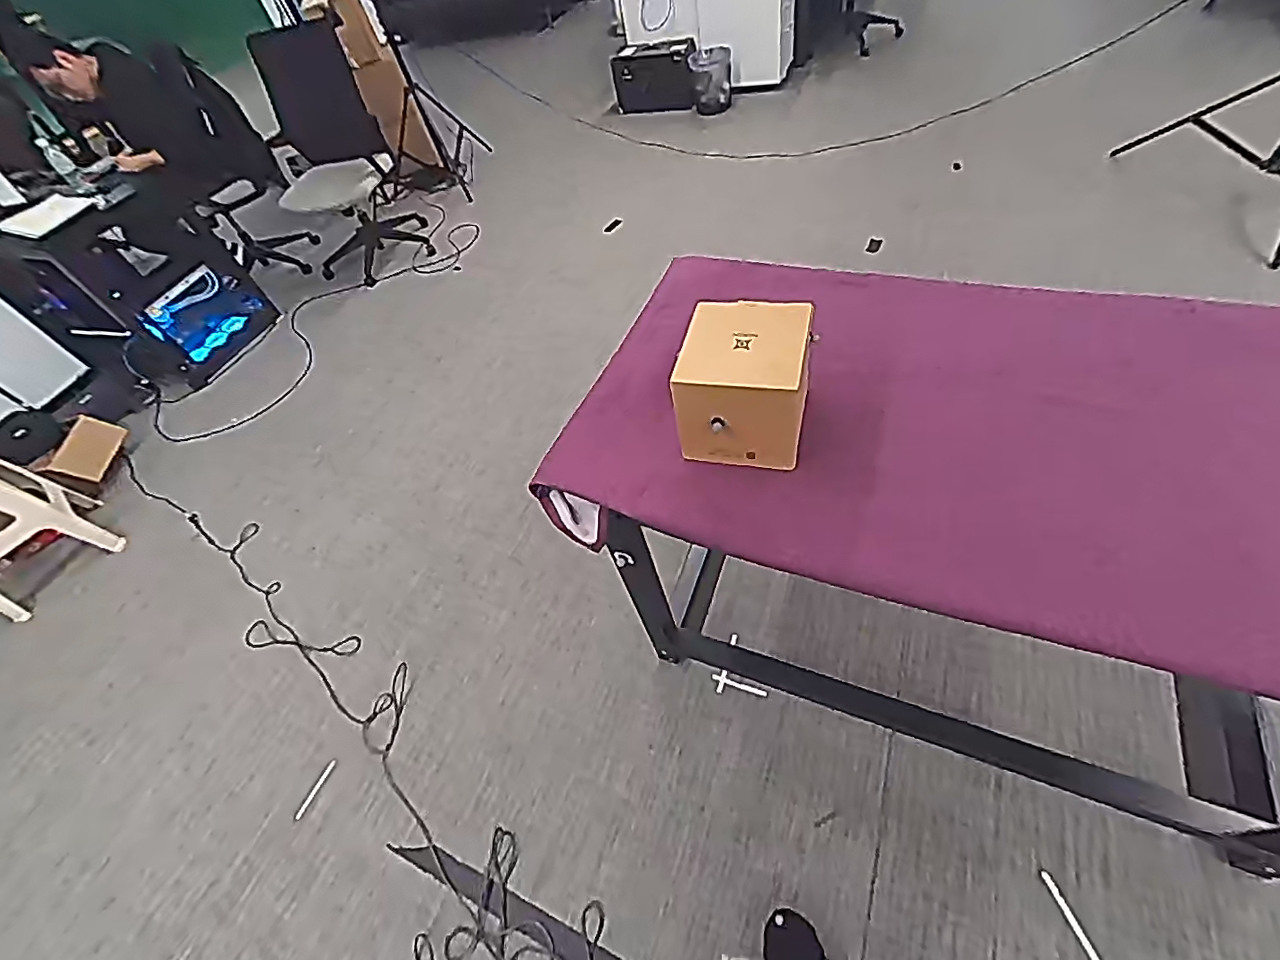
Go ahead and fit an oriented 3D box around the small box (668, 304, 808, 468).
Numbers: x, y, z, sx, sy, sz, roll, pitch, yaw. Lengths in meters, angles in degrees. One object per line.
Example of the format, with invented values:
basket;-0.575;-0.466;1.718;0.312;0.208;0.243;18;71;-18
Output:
small box;0.151;-0.136;0.795;0.168;0.176;0.179;7;54;18
